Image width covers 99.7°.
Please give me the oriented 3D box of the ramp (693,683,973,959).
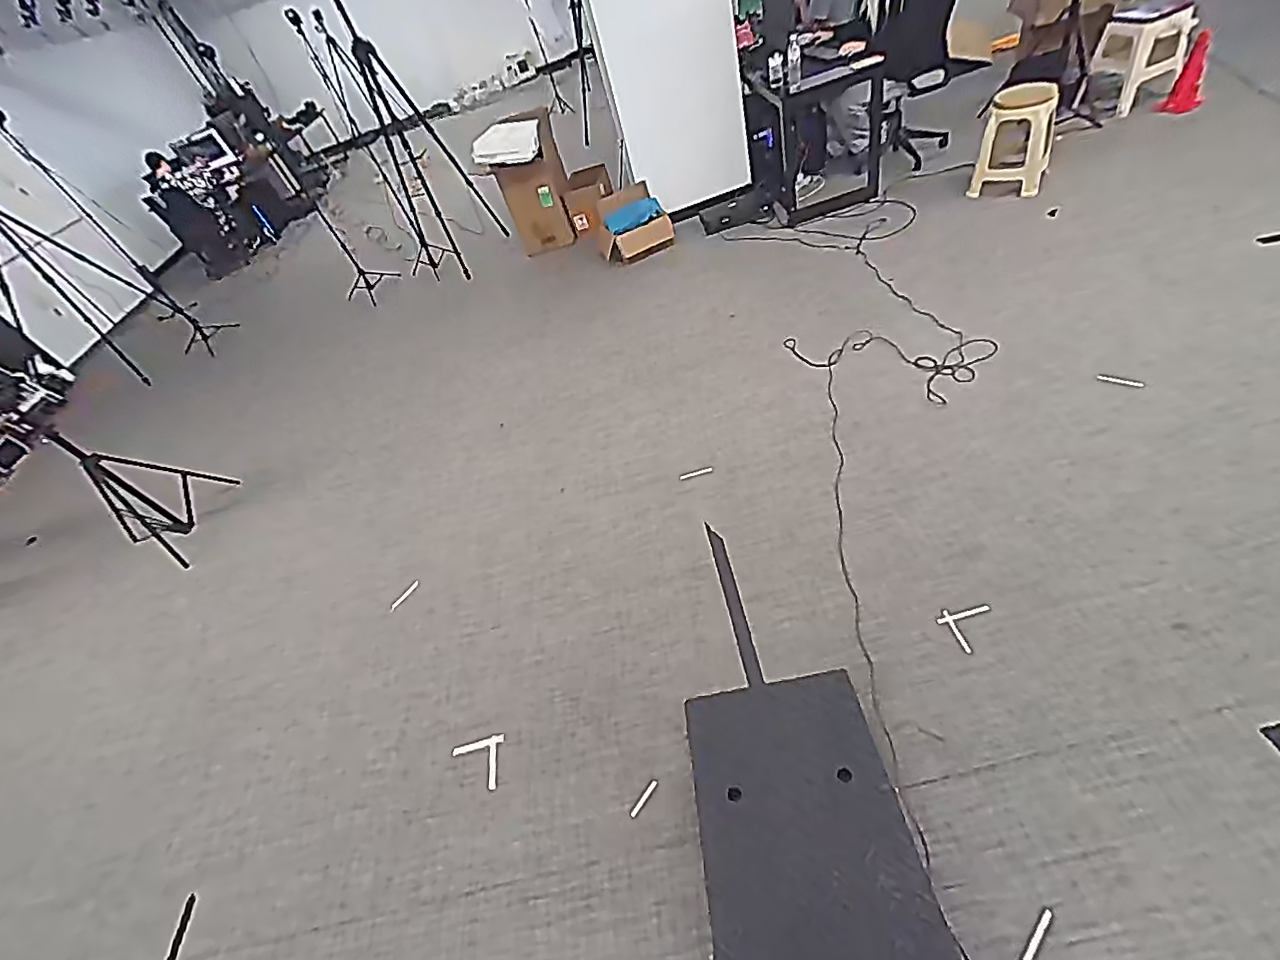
[{"bbox_3d":[0.417,0.939,1.206,0.509,0.206,0.991,-18,43,6],"label":"ramp"}]
